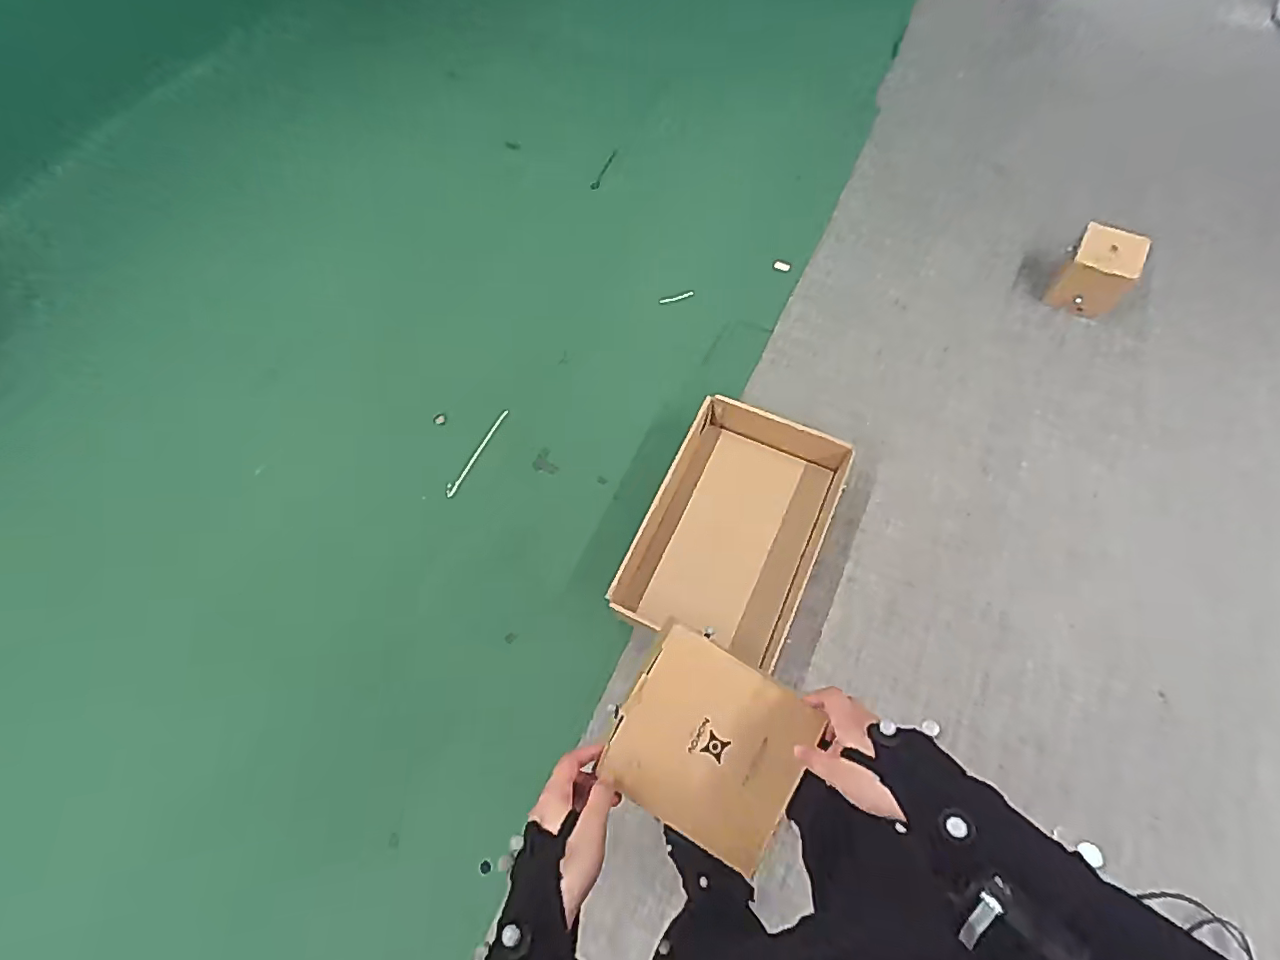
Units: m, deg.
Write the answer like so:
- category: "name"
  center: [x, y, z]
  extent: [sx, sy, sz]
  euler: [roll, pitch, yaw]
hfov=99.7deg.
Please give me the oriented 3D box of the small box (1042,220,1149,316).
- category: "small box"
  center: [1.350, -0.629, 1.613]
  extent: [0.168, 0.176, 0.179]
  euler: [28, 71, 16]

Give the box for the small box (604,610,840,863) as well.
- category: "small box"
  center: [0.079, 0.257, 0.593]
  extent: [0.179, 0.176, 0.168]
  euler: [30, 81, 6]
